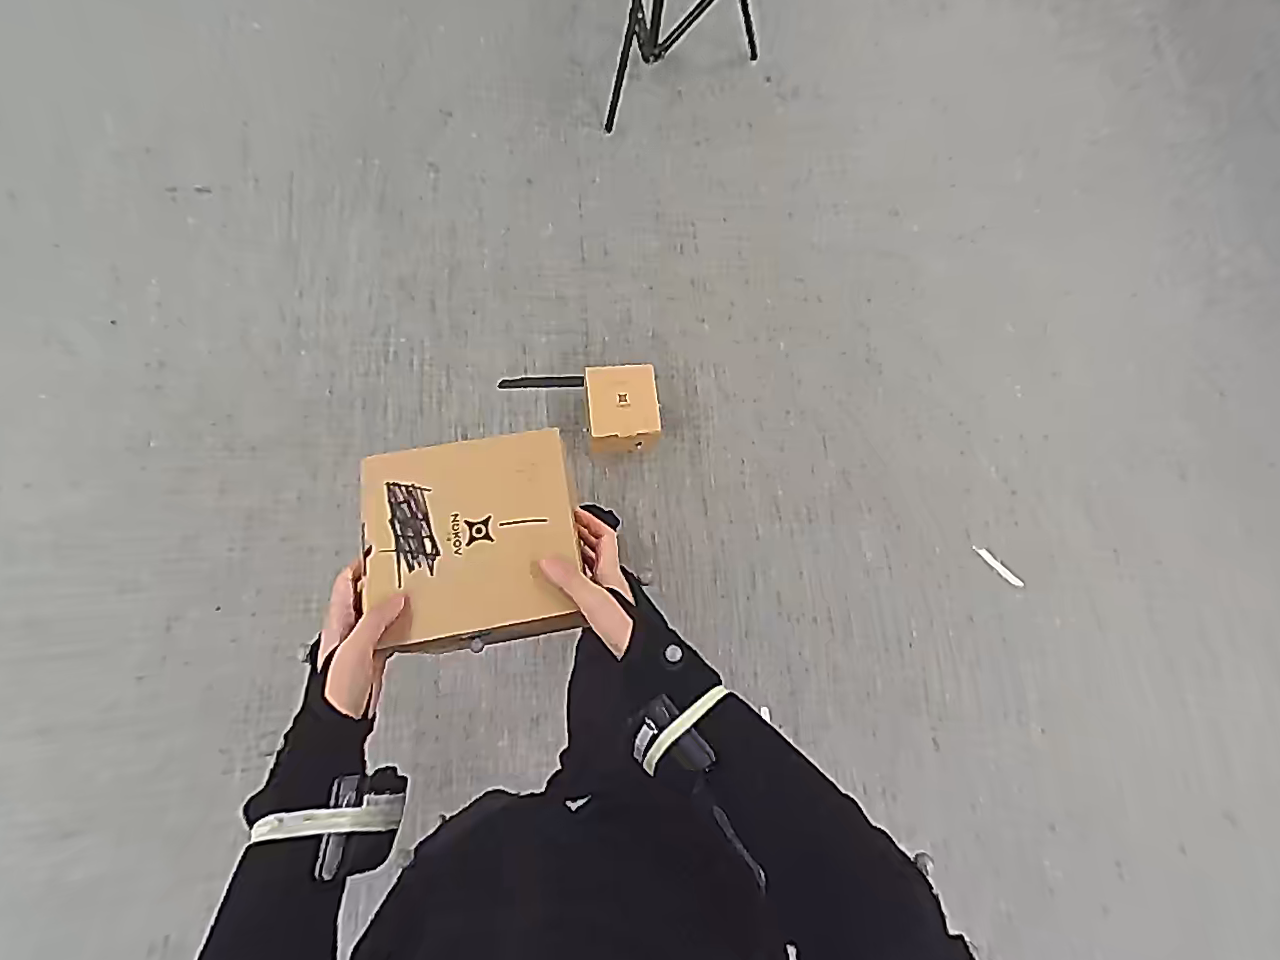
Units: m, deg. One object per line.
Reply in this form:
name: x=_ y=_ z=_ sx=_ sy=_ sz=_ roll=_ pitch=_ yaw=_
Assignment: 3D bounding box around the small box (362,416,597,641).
small box: x=-0.144 y=0.058 z=0.531 sx=0.179 sy=0.176 sz=0.168 roll=-11 pitch=73 yaw=-5
